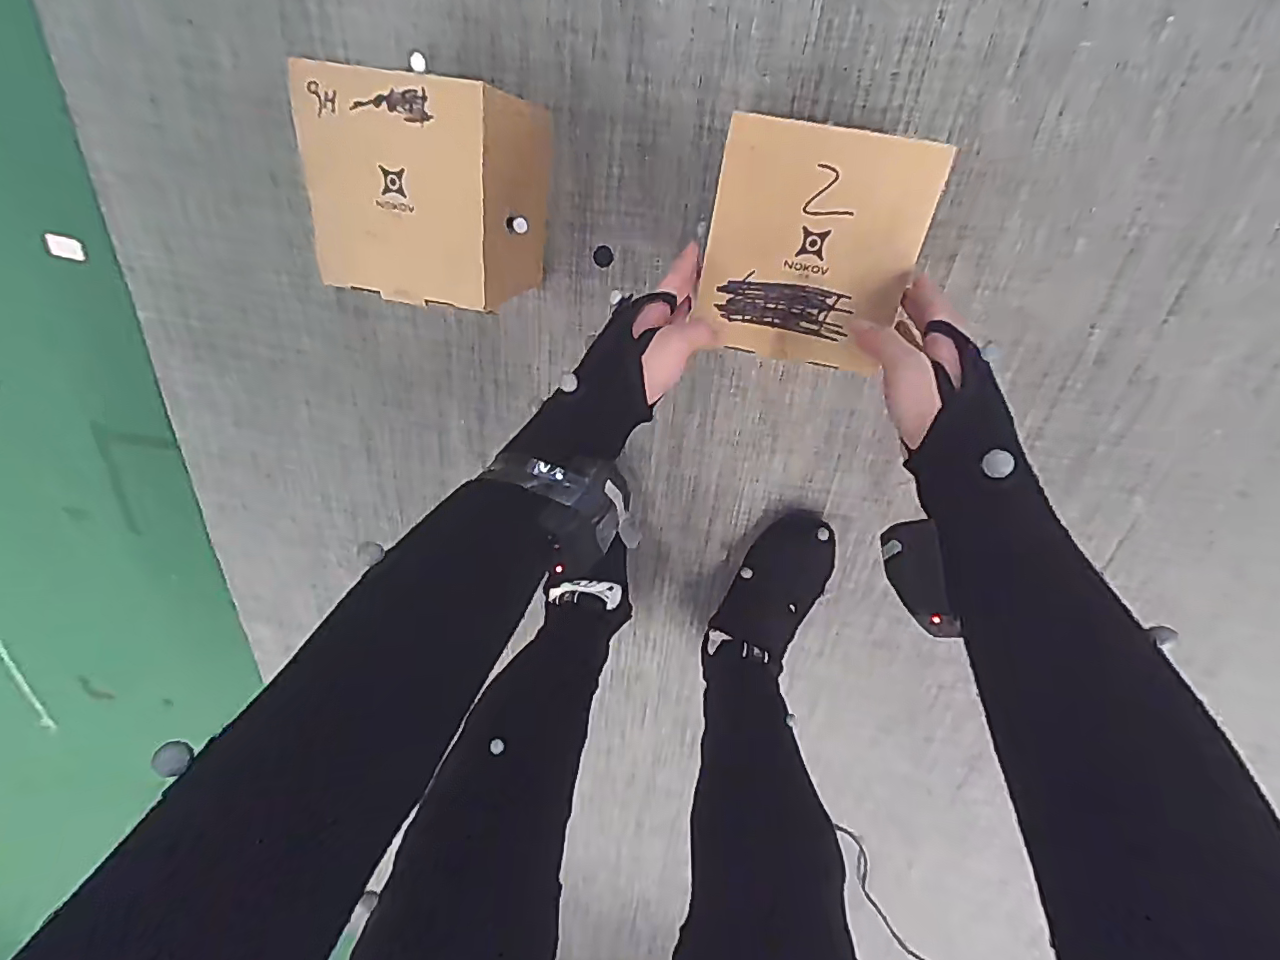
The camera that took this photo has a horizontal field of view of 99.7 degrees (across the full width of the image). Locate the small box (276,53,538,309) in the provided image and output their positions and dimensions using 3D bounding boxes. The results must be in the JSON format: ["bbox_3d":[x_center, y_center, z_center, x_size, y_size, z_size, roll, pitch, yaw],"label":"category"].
[{"bbox_3d":[-0.205,-0.284,0.530,0.168,0.176,0.179,11,119,4],"label":"small box"}]
